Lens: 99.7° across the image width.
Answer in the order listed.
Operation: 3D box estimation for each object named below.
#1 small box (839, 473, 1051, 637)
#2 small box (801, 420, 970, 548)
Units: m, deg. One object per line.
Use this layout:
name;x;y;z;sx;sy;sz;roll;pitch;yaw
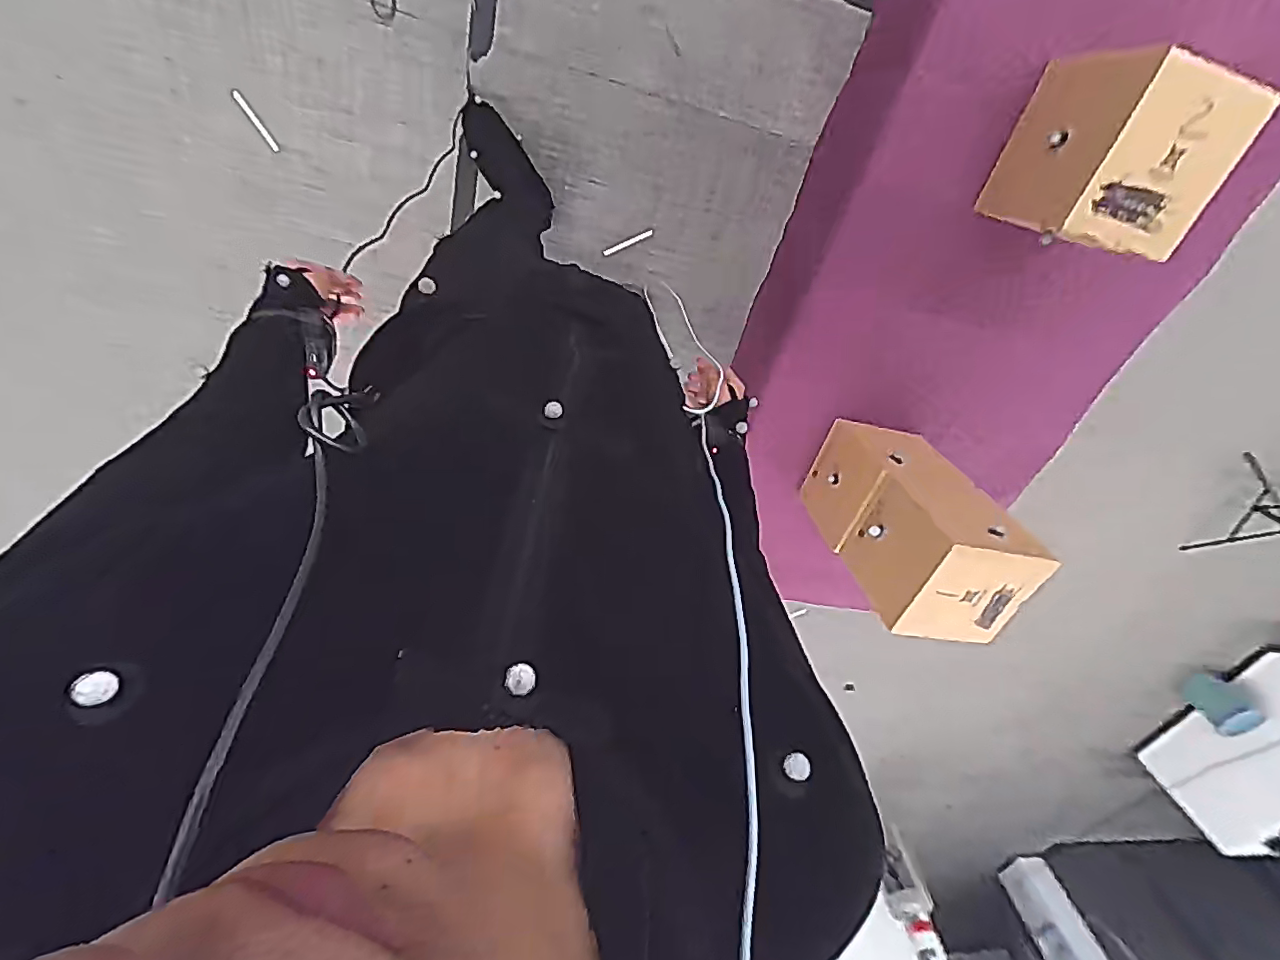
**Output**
small box;0.436;0.108;0.803;0.179;0.176;0.168;10;122;-15
small box;0.407;0.013;0.934;0.179;0.176;0.168;9;123;-15
